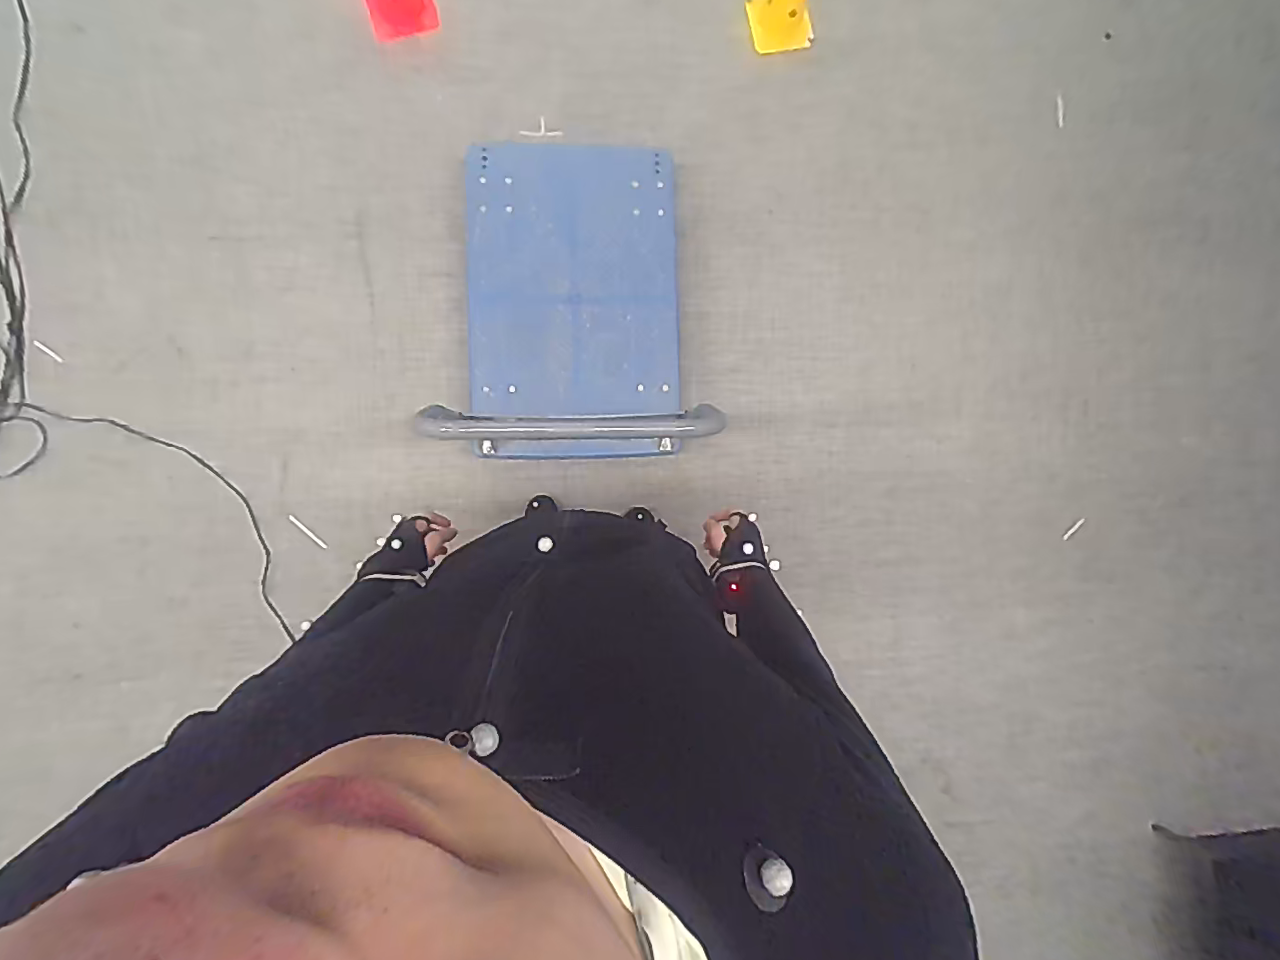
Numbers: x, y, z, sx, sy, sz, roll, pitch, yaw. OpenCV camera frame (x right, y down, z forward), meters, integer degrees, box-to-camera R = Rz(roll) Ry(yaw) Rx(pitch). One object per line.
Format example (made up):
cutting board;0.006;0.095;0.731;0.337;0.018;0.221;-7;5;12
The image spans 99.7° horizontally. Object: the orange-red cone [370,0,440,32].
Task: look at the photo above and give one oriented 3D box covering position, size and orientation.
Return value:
orange-red cone;-0.709;-1.471;1.468;0.199;0.360;0.198;-16;89;-4
